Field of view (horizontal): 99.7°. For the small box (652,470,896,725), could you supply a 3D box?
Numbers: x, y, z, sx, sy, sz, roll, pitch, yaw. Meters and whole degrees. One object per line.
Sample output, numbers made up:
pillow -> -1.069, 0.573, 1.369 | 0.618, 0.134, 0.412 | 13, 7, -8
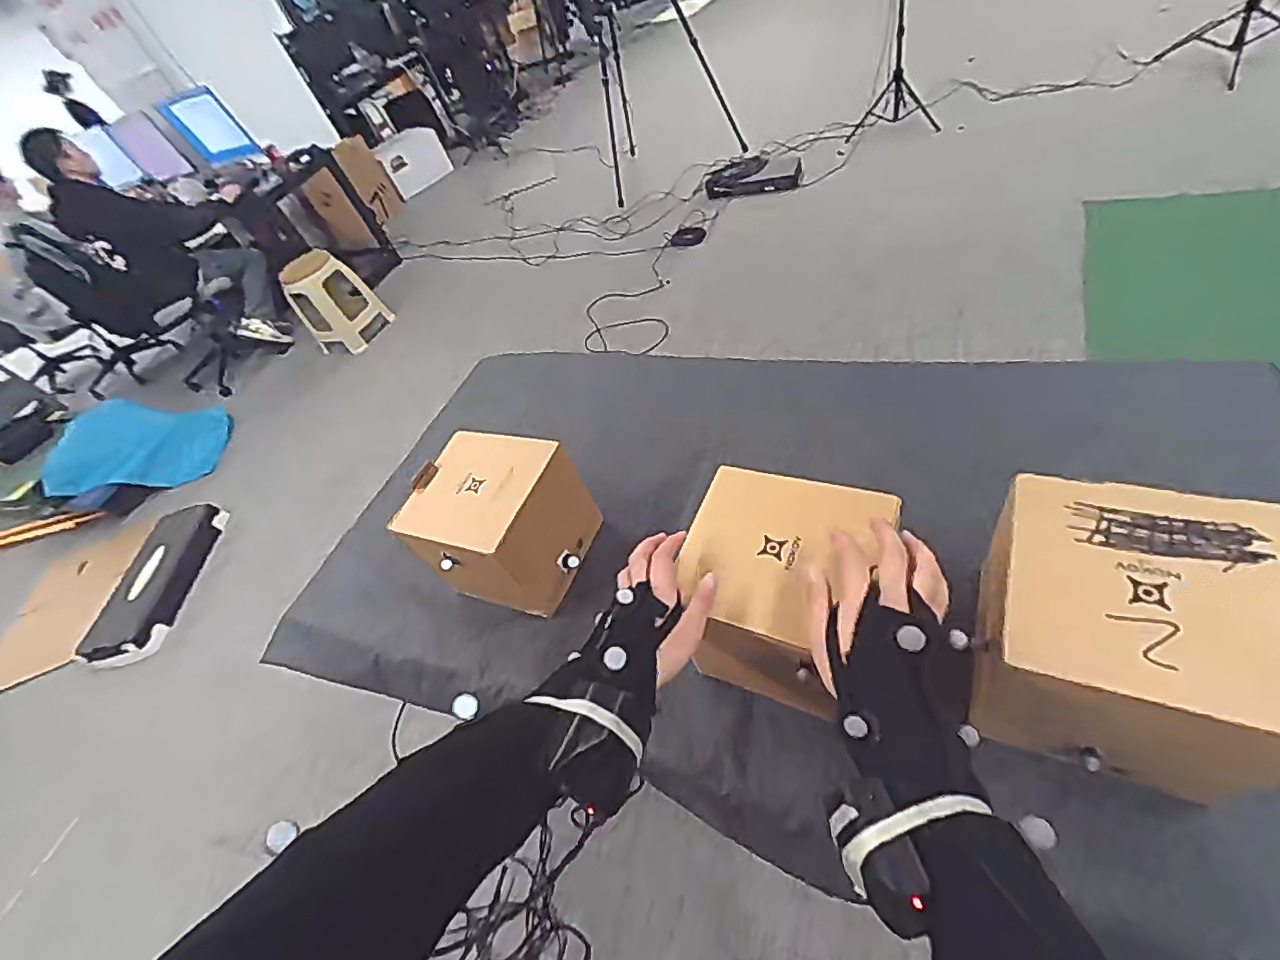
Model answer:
small box -> 0.139, 0.116, 0.537 | 0.179, 0.176, 0.168 | 12, 55, 28

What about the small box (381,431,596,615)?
small box -> -0.186, 0.056, 0.712 | 0.179, 0.176, 0.168 | 9, 55, 26
